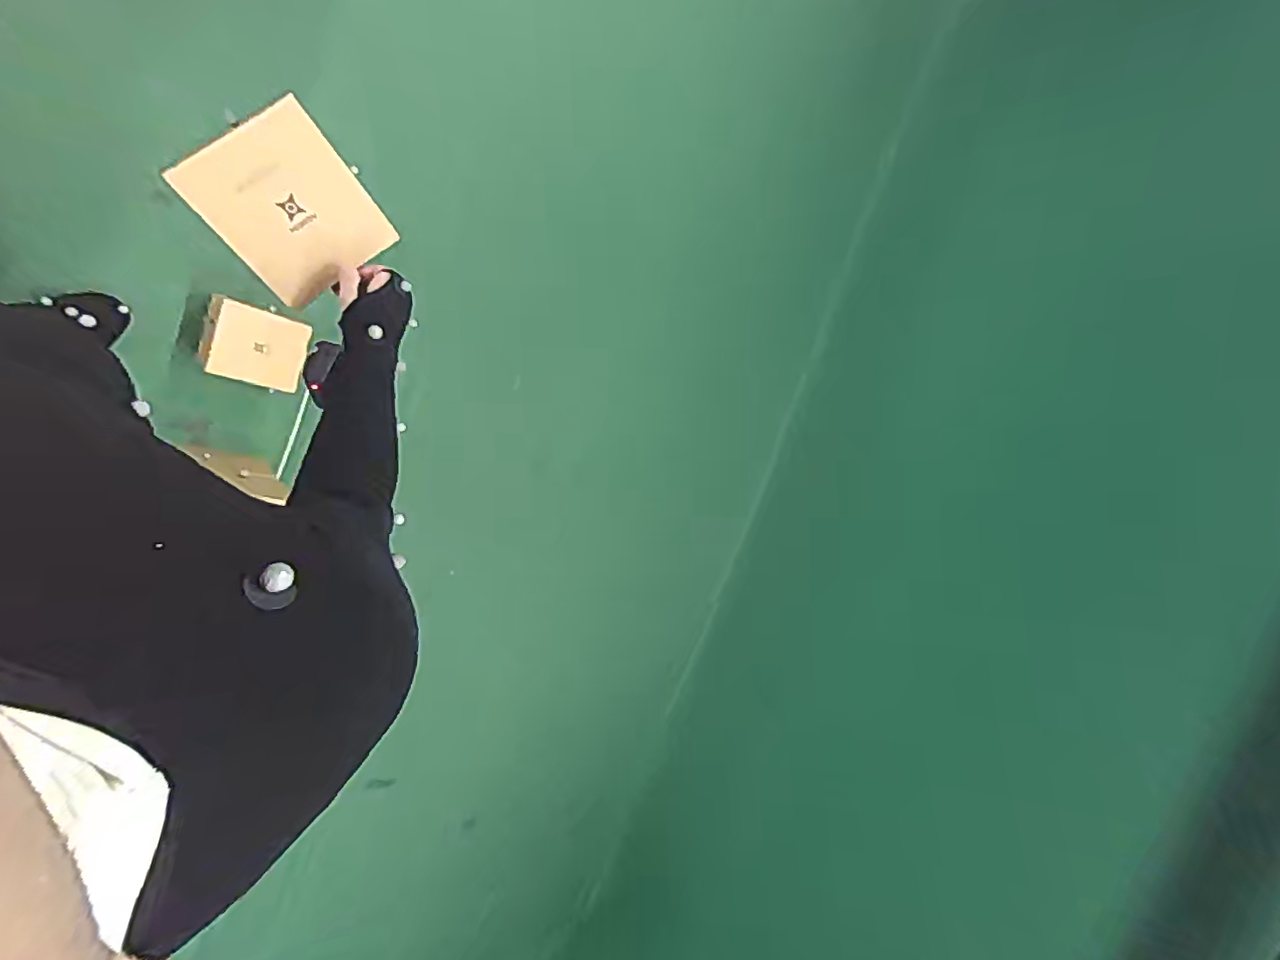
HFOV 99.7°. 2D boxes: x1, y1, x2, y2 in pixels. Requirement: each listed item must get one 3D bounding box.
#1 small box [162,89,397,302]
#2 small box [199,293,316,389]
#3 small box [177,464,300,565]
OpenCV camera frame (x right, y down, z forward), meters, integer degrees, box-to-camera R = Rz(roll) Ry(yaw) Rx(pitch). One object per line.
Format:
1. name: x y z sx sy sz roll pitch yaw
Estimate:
1. small box: -0.453 -0.364 0.693 0.168 0.176 0.179 -42 135 -9
2. small box: -0.903 -0.329 1.270 0.179 0.176 0.168 13 99 -50
3. small box: -0.903 0.074 1.210 0.179 0.176 0.168 19 95 -47
